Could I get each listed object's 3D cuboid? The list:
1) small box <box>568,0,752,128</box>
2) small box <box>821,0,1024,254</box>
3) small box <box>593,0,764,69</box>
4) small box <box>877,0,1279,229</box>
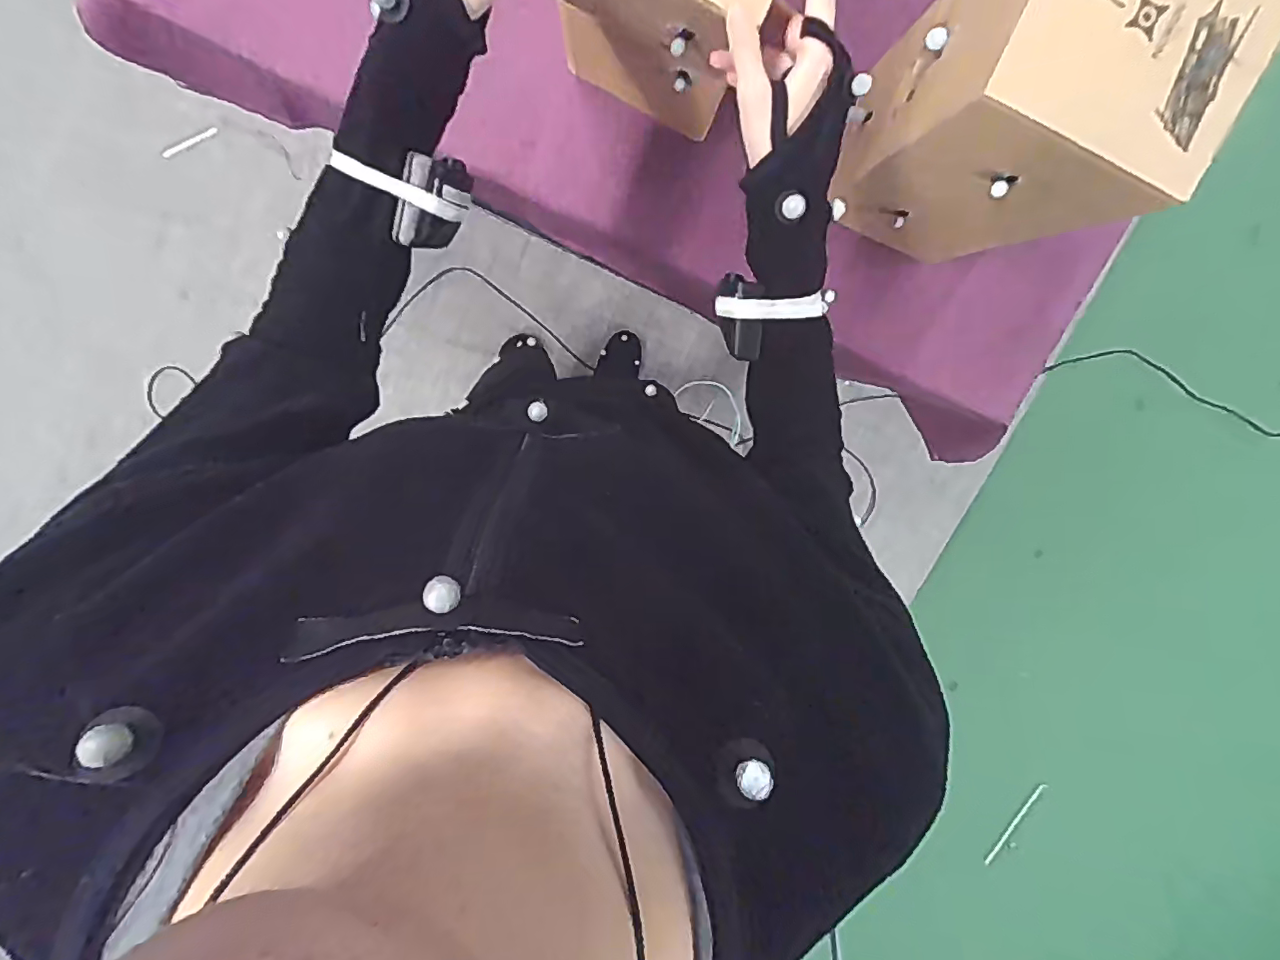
[{"bbox_3d":[0.033,-0.500,0.547,0.179,0.176,0.168,24,102,-9],"label":"small box"},{"bbox_3d":[0.328,-0.366,0.591,0.179,0.176,0.168,20,103,-6],"label":"small box"},{"bbox_3d":[0.036,-0.428,0.370,0.168,0.176,0.179,21,114,-10],"label":"small box"},{"bbox_3d":[0.333,-0.323,0.433,0.179,0.176,0.168,22,102,-7],"label":"small box"}]
